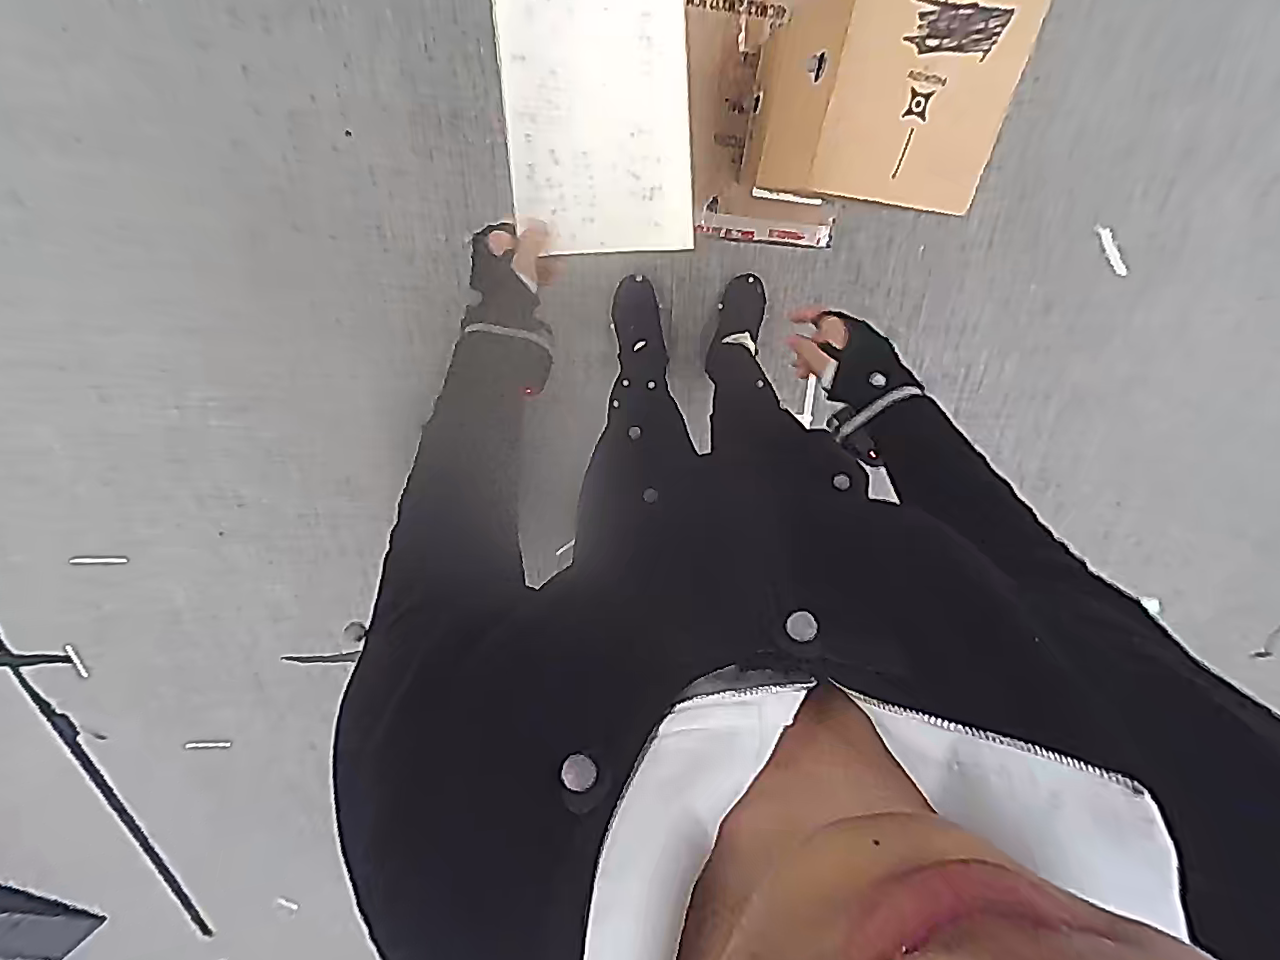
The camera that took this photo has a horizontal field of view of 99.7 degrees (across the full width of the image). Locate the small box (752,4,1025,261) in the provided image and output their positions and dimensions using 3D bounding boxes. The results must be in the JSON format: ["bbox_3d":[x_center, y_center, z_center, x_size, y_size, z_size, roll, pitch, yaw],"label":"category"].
[{"bbox_3d":[0.230,-0.340,0.557,0.168,0.176,0.179,5,119,-9],"label":"small box"}]

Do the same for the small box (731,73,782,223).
[{"bbox_3d":[0.233,-0.421,0.702,0.179,0.176,0.168,2,118,-7],"label":"small box"}]
